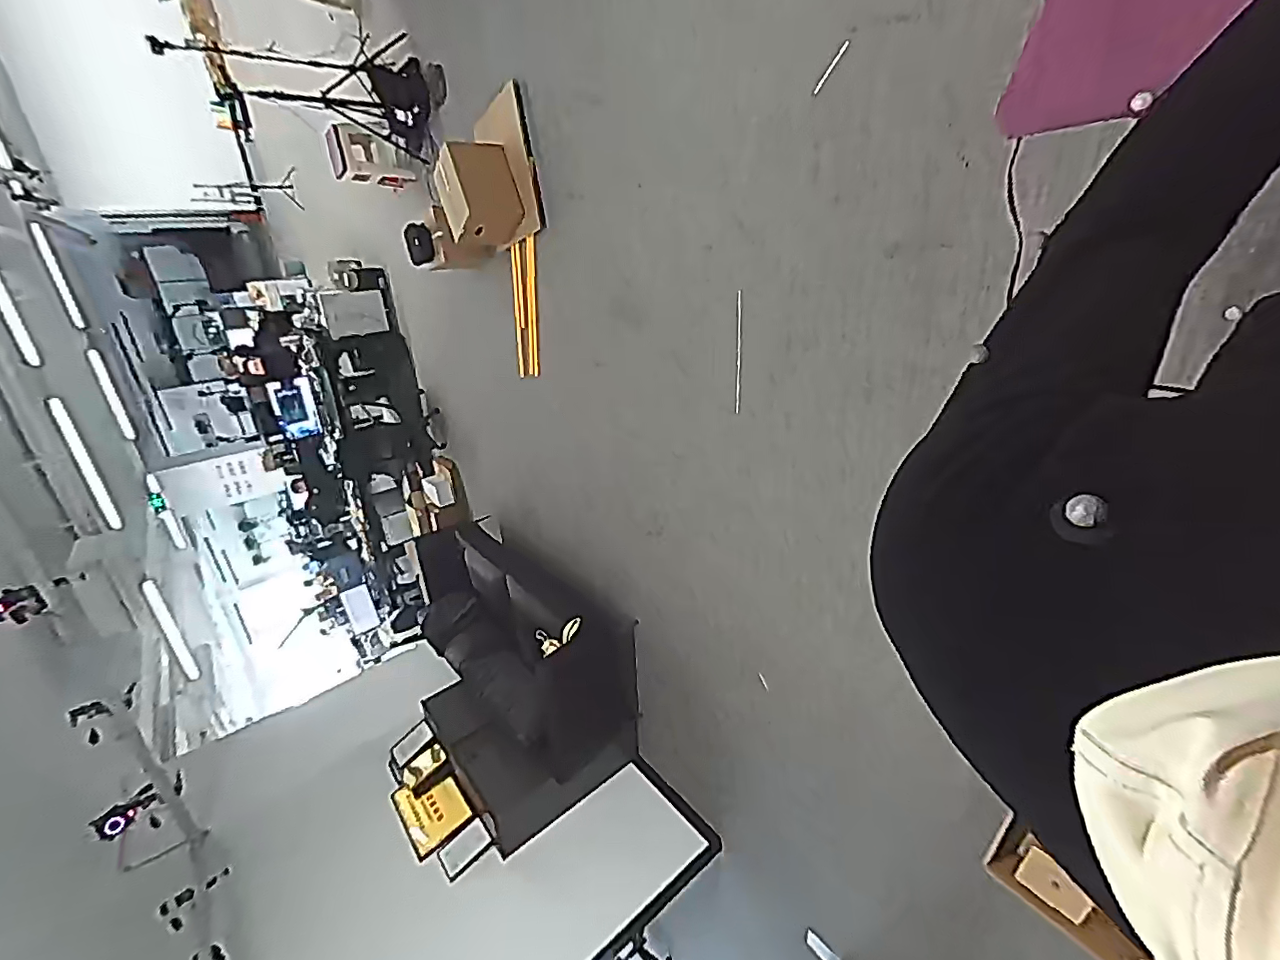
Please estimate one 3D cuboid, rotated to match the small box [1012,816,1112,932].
[{"bbox_3d":[1.226,1.136,1.569,0.168,0.176,0.179,28,128,42],"label":"small box"}]
